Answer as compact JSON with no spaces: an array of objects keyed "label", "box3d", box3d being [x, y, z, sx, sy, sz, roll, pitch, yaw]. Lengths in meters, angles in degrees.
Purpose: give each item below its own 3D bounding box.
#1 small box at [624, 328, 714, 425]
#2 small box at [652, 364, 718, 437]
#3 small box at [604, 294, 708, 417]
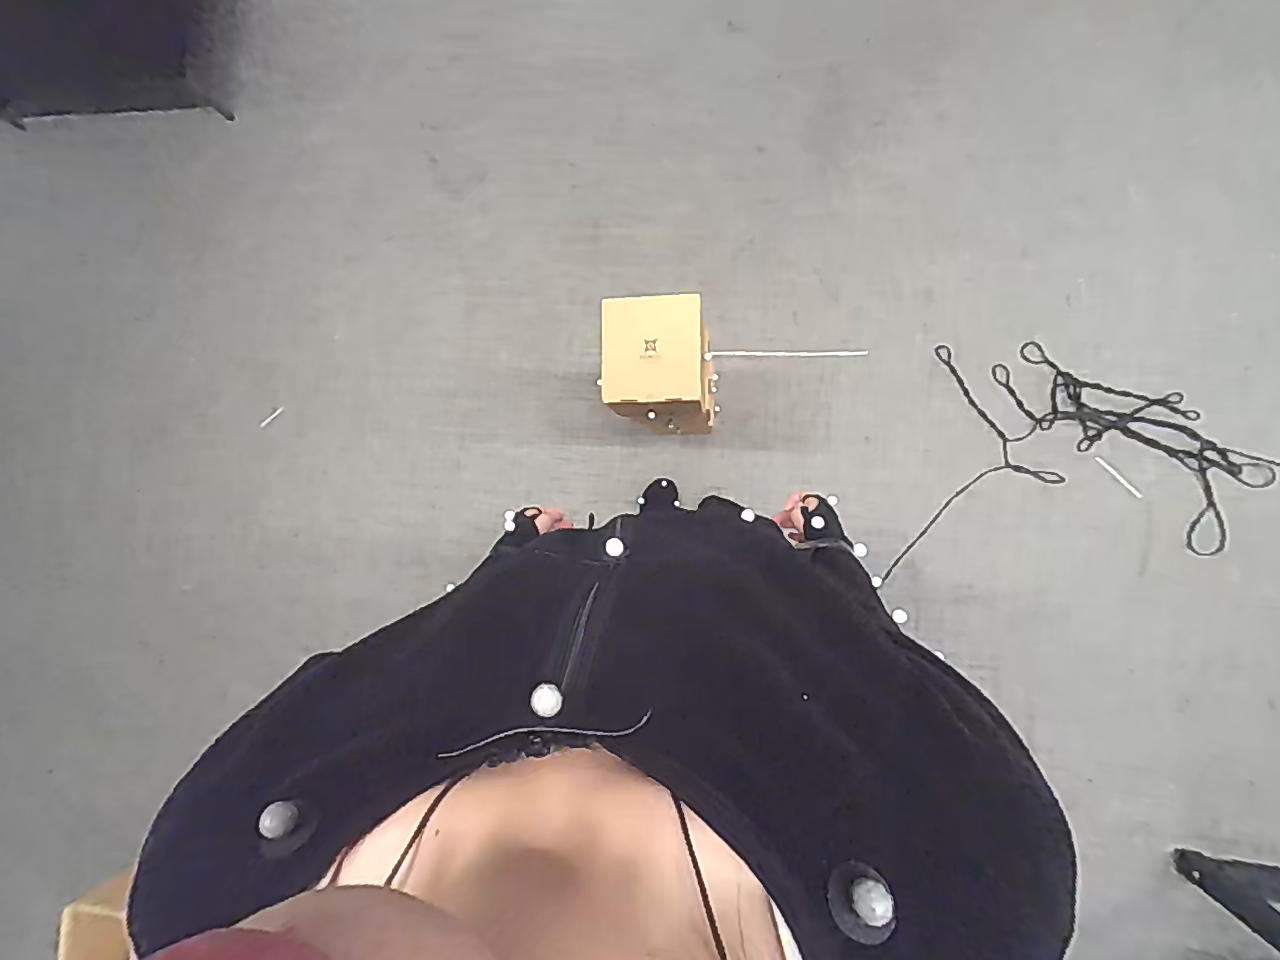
[{"label":"small box","box3d":[0.064,-0.208,1.120,0.179,0.176,0.168,-1,88,8]},{"label":"small box","box3d":[0.118,-0.207,1.443,0.179,0.176,0.168,1,88,8]},{"label":"small box","box3d":[0.034,-0.212,0.959,0.168,0.176,0.179,-1,89,9]}]
